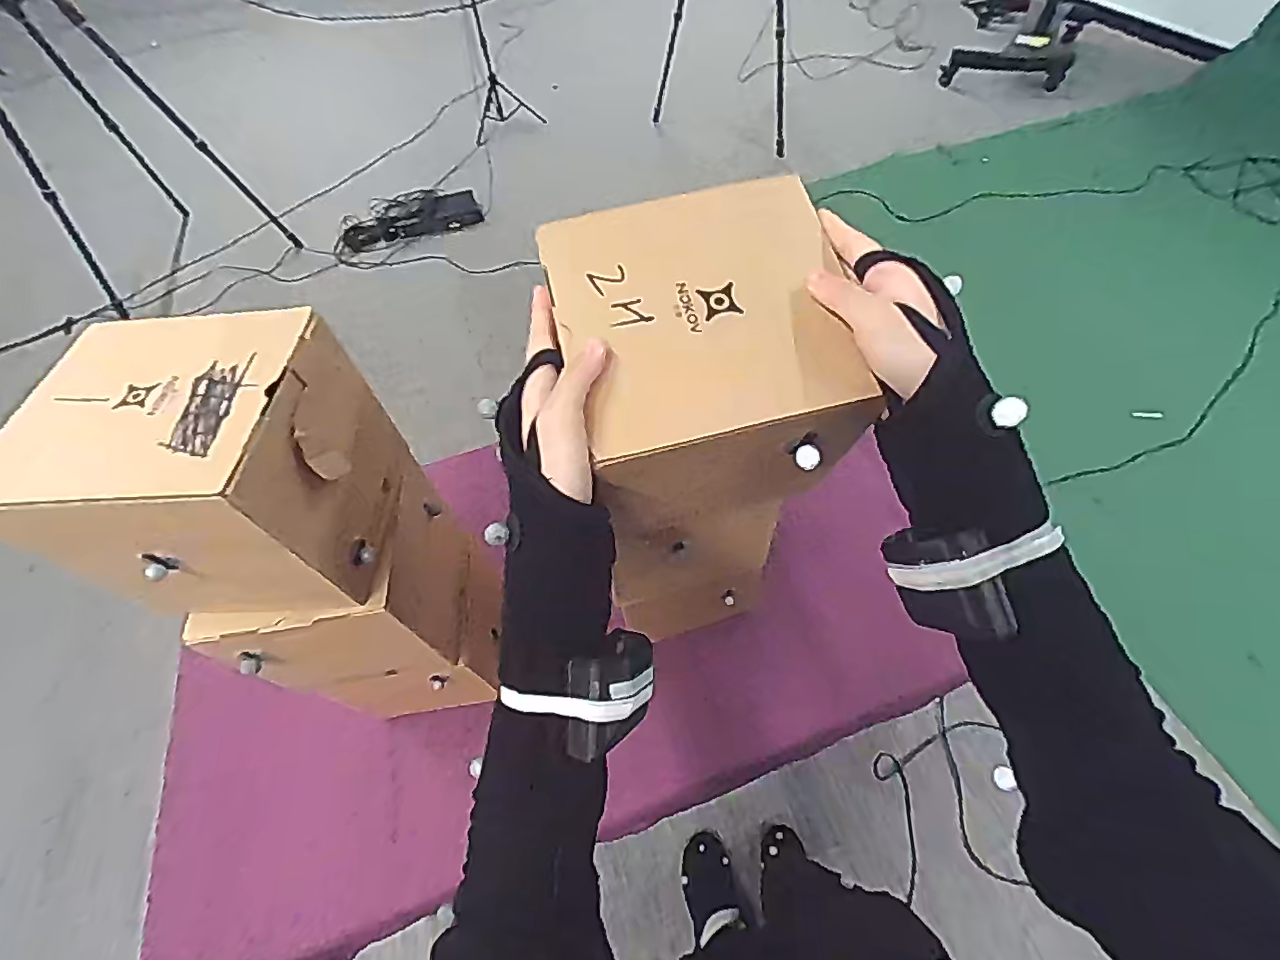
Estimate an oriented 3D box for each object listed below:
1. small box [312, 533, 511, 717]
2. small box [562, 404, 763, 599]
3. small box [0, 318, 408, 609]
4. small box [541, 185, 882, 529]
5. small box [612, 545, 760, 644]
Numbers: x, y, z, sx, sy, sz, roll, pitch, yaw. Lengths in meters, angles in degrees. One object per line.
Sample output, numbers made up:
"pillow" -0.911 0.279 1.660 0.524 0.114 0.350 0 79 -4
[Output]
"small box" -0.276 0.192 0.696 0.179 0.176 0.168 -9 54 -2
"small box" 0.028 0.010 0.596 0.179 0.176 0.168 -16 55 -5
"small box" -0.316 -0.006 0.436 0.179 0.176 0.168 -4 54 3
"small box" 0.038 -0.077 0.403 0.179 0.176 0.168 -14 70 -4
"small box" 0.042 0.099 0.734 0.179 0.176 0.168 -17 55 -7
